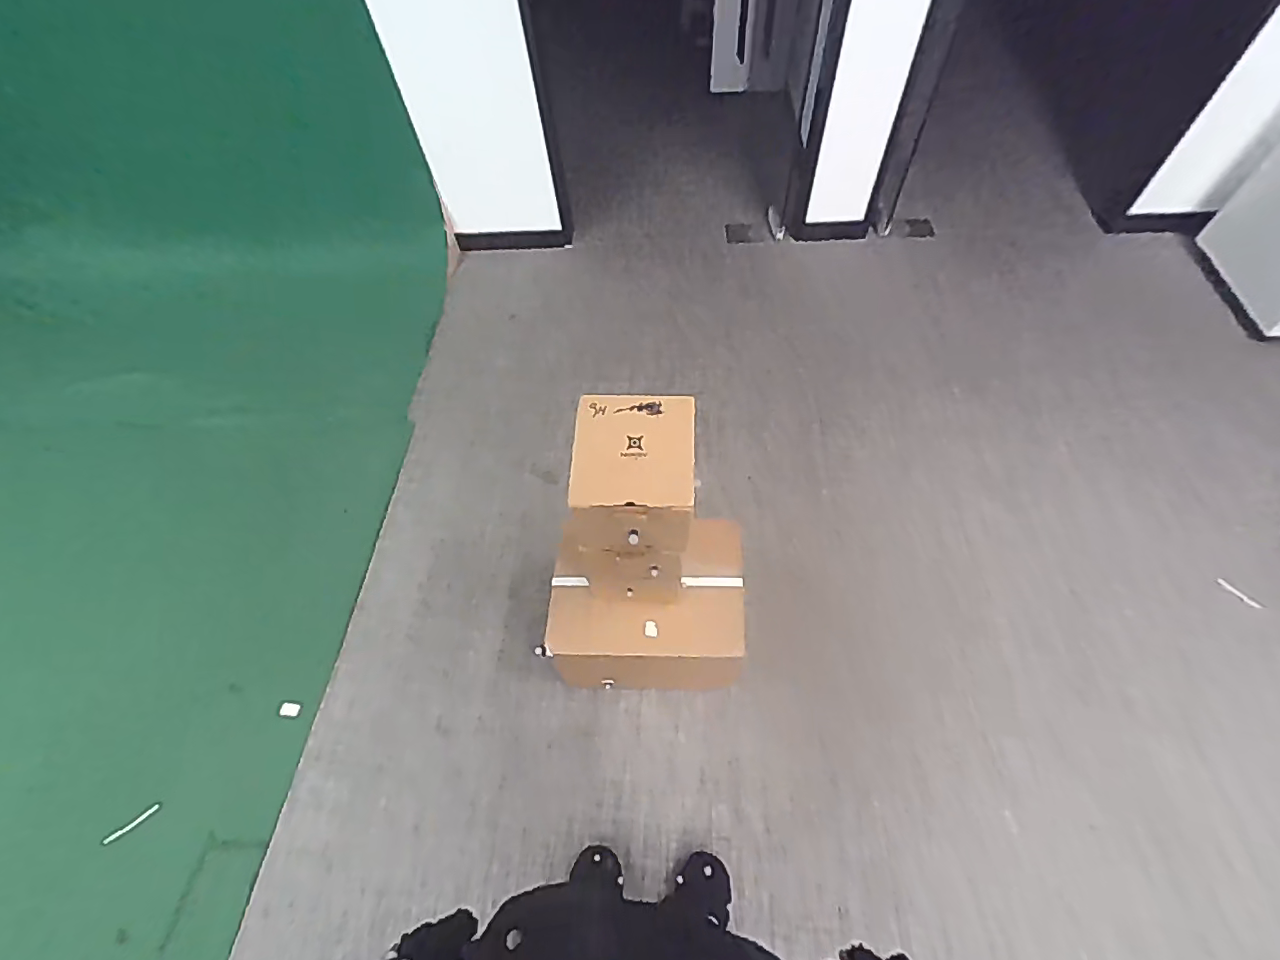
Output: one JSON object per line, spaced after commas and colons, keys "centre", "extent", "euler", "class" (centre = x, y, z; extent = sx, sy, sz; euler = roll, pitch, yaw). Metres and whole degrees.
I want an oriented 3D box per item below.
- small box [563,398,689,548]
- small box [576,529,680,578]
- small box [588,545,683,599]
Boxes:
{"centre": [-0.010, -0.004, 0.807], "extent": [0.168, 0.176, 0.179], "euler": [1, 65, 4], "class": "small box"}
{"centre": [-0.012, 0.069, 0.953], "extent": [0.168, 0.176, 0.179], "euler": [0, 63, 3], "class": "small box"}
{"centre": [-0.004, 0.142, 1.097], "extent": [0.179, 0.176, 0.168], "euler": [0, 64, 4], "class": "small box"}
